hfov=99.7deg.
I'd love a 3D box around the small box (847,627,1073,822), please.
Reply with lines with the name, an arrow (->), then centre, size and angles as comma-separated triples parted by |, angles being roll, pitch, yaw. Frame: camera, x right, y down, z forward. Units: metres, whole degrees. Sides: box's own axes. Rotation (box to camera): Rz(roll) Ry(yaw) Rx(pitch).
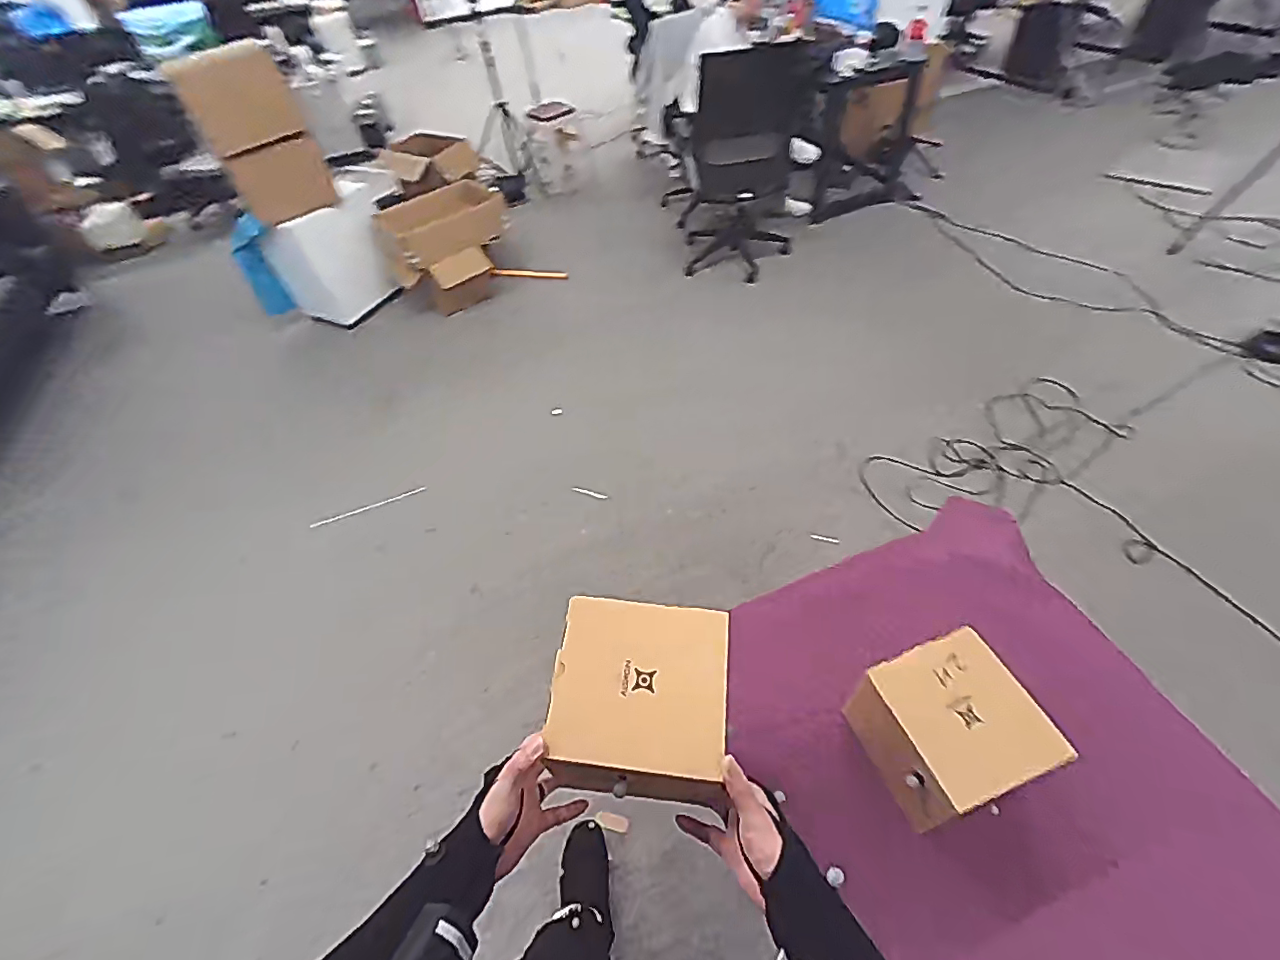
small box -> 0.408, 0.334, 0.727 | 0.168, 0.176, 0.179 | -19, 50, -8

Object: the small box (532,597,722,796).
small box -> -0.004, 0.248, 0.611 | 0.179, 0.176, 0.168 | 3, 54, 6
